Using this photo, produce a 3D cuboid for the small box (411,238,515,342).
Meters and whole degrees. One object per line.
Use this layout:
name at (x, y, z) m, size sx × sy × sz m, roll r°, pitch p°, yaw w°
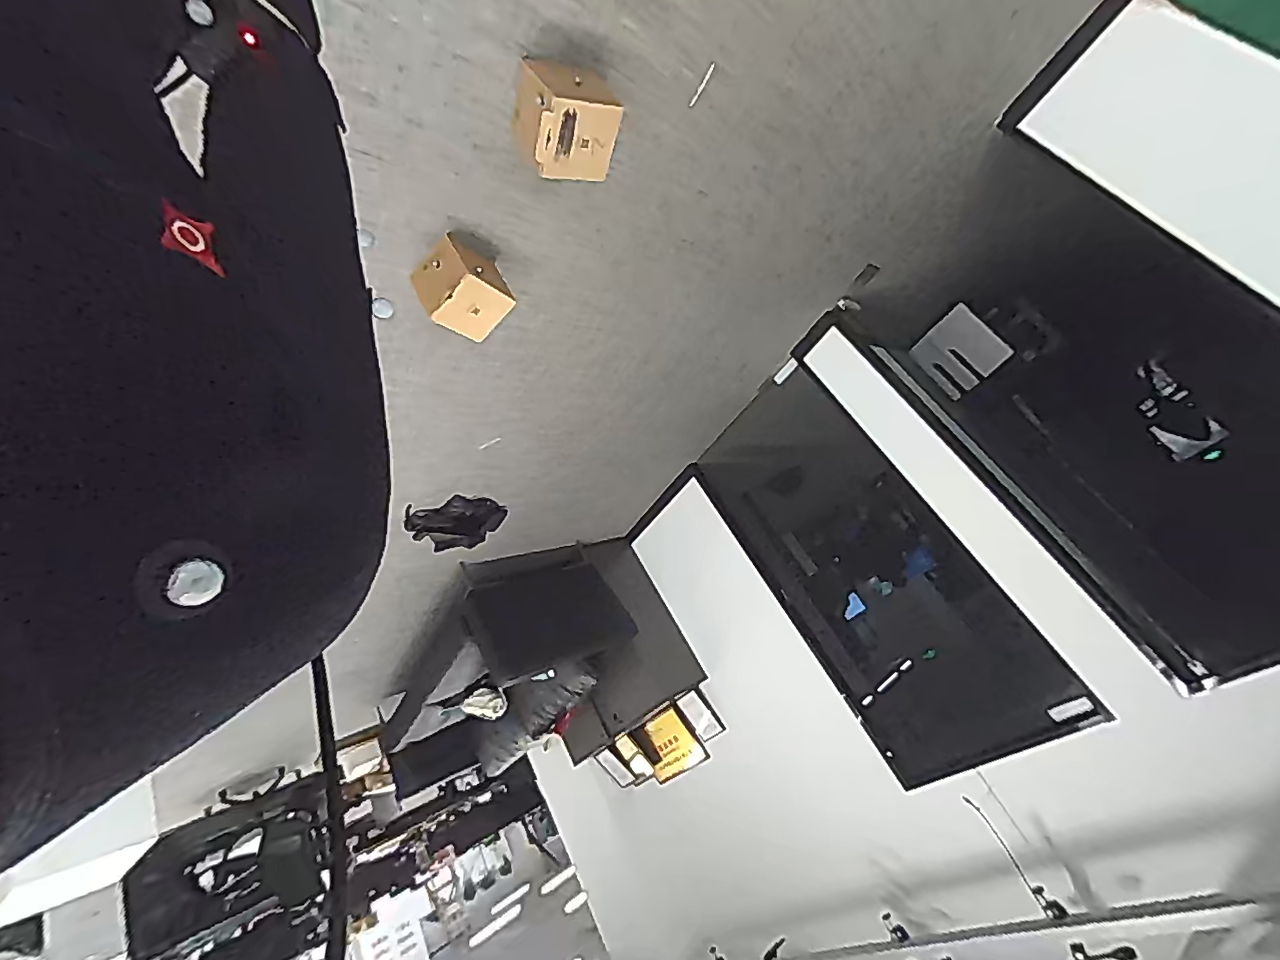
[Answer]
small box at (-0.476, -0.509, 1.451) m, size 0.168 × 0.176 × 0.179 m, roll -40°, pitch 155°, yaw 19°
